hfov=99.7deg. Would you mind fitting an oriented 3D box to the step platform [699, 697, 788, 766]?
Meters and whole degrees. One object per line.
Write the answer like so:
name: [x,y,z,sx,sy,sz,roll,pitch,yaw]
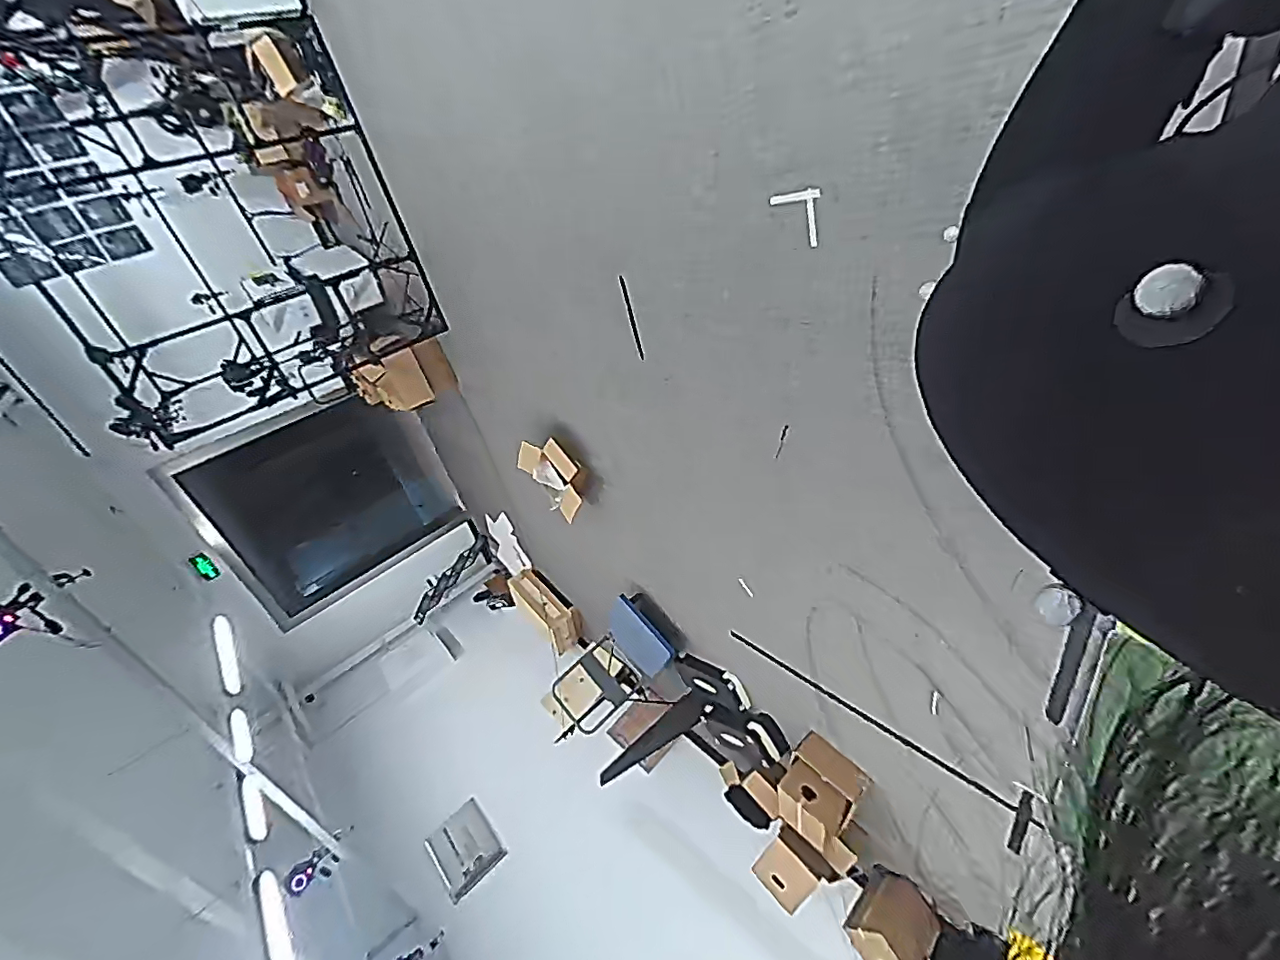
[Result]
step platform: [0.706,1.764,3.813,0.286,0.204,0.684,58,151,-6]
